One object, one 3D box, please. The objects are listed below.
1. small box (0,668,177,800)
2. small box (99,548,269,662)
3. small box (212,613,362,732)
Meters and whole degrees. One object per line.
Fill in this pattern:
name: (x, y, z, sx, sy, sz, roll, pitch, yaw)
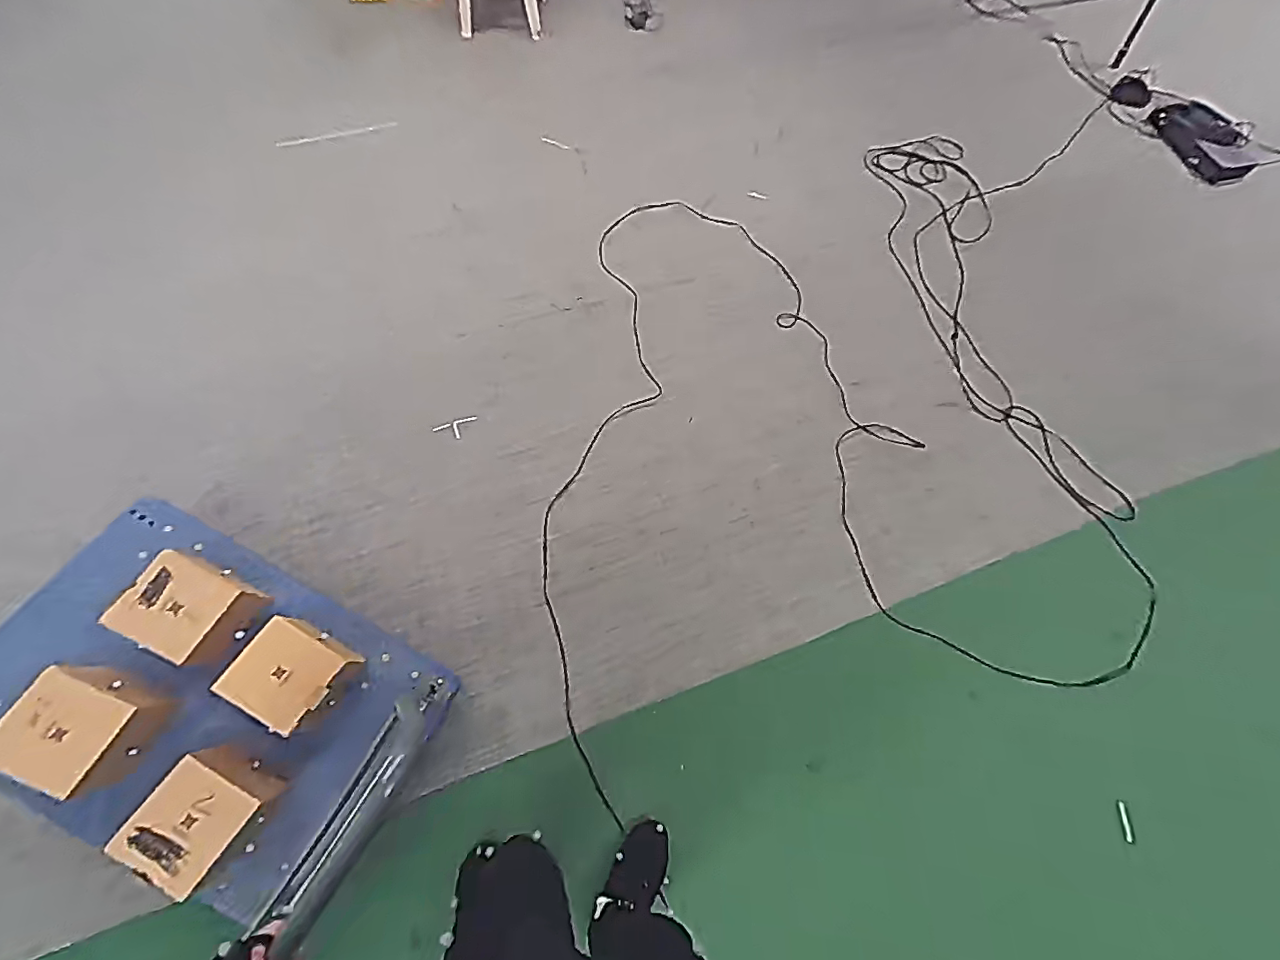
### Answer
small box: (-1.055, 0.471, 1.030, 0.179, 0.176, 0.168, 28, 66, -3)
small box: (-0.936, 0.268, 1.130, 0.179, 0.176, 0.168, 30, 68, -3)
small box: (-0.727, 0.404, 1.138, 0.179, 0.176, 0.168, 33, 67, -2)
